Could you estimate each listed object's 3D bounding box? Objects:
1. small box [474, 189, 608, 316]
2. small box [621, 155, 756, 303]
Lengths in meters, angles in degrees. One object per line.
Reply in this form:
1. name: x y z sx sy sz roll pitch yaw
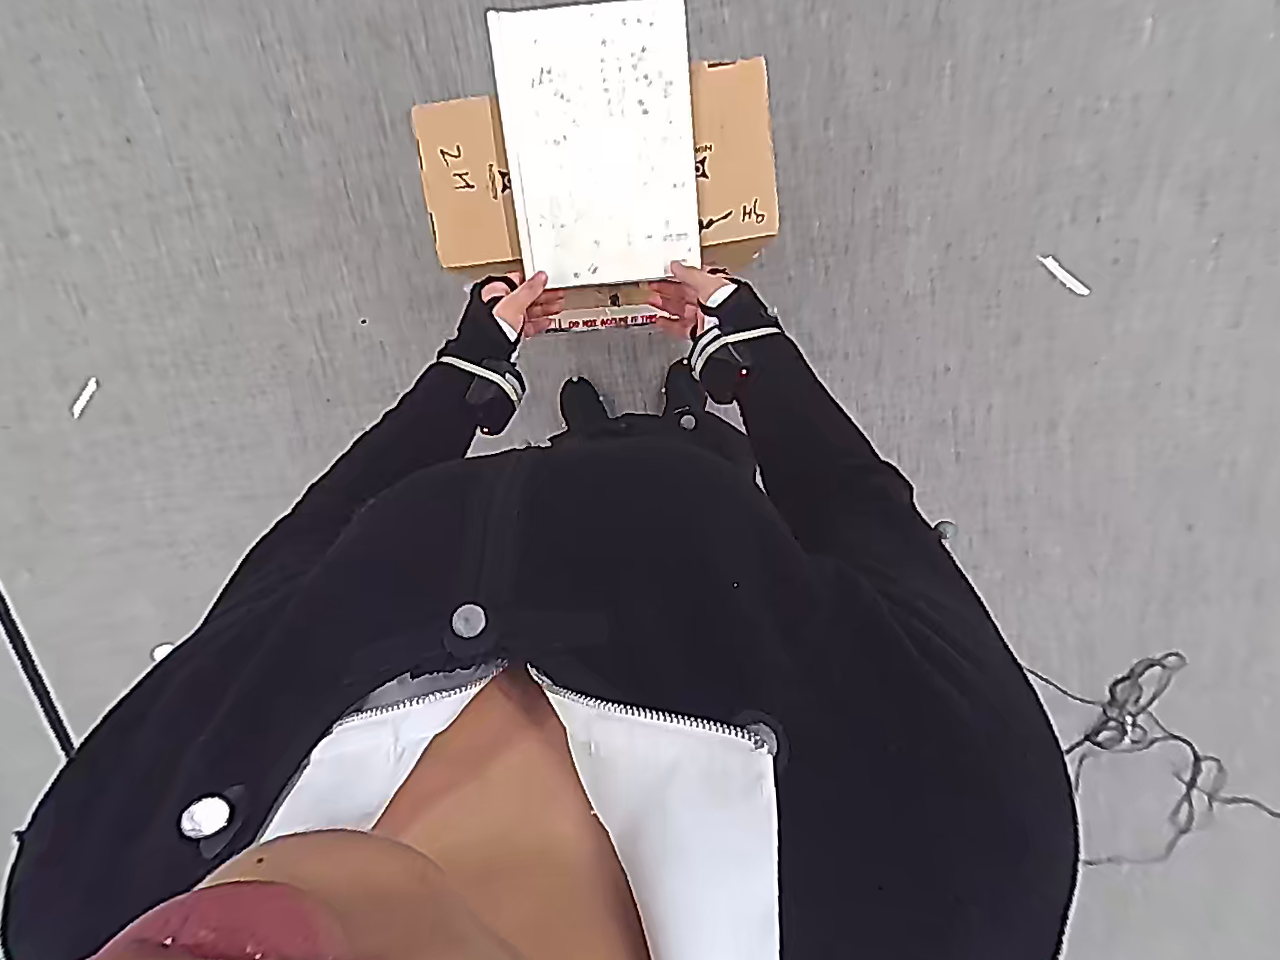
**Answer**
1. small box: -0.143 -0.349 0.853 0.179 0.176 0.168 -1 105 3
2. small box: 0.070 -0.377 0.841 0.179 0.176 0.168 -10 104 3
